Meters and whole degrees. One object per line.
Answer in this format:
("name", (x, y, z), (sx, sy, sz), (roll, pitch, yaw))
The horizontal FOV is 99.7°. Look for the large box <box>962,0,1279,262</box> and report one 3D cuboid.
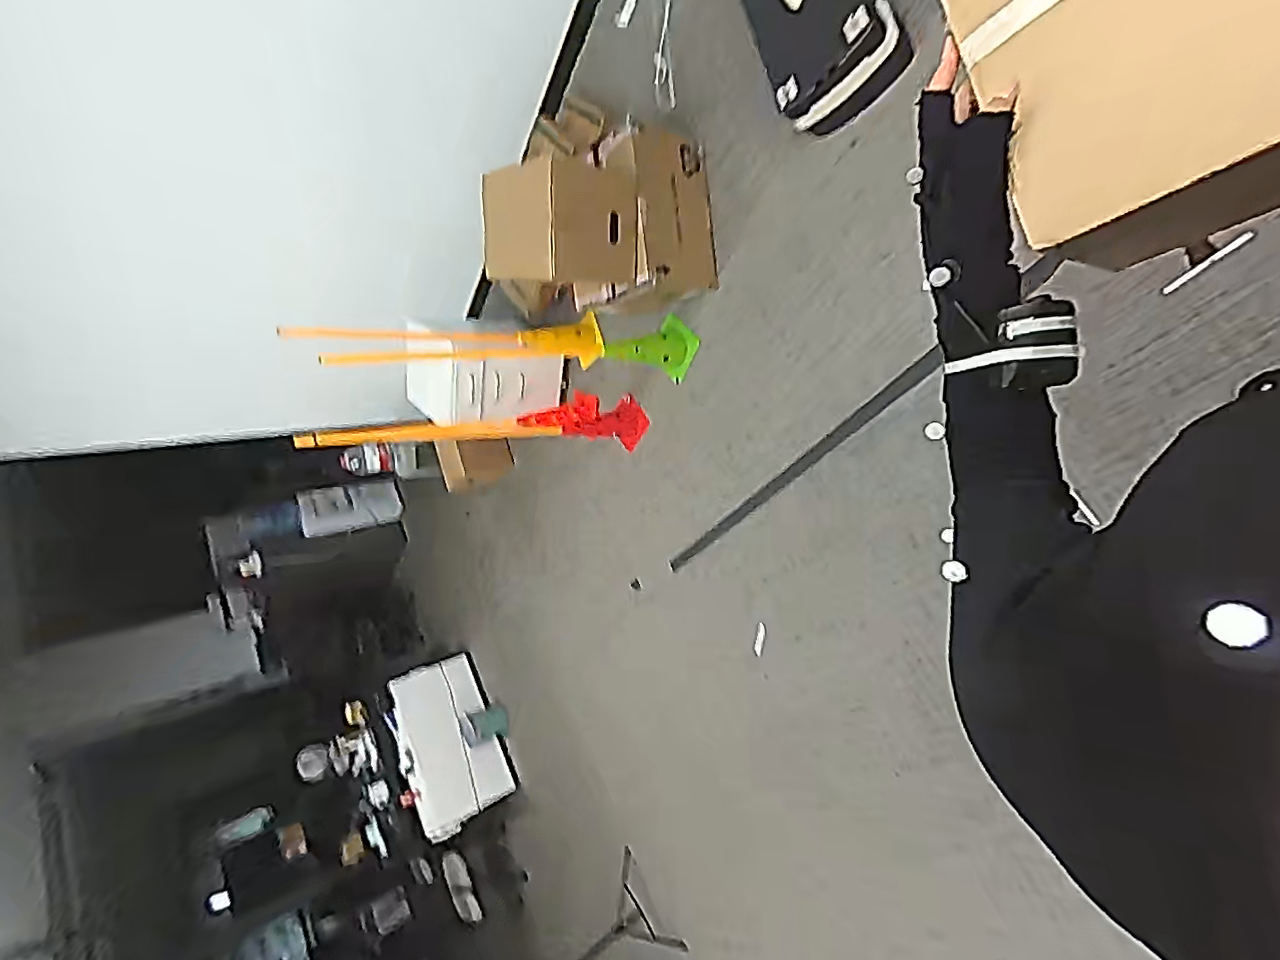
("large box", (0.480, -0.394, 0.348), (0.408, 0.320, 0.320), (-19, 87, 49))
